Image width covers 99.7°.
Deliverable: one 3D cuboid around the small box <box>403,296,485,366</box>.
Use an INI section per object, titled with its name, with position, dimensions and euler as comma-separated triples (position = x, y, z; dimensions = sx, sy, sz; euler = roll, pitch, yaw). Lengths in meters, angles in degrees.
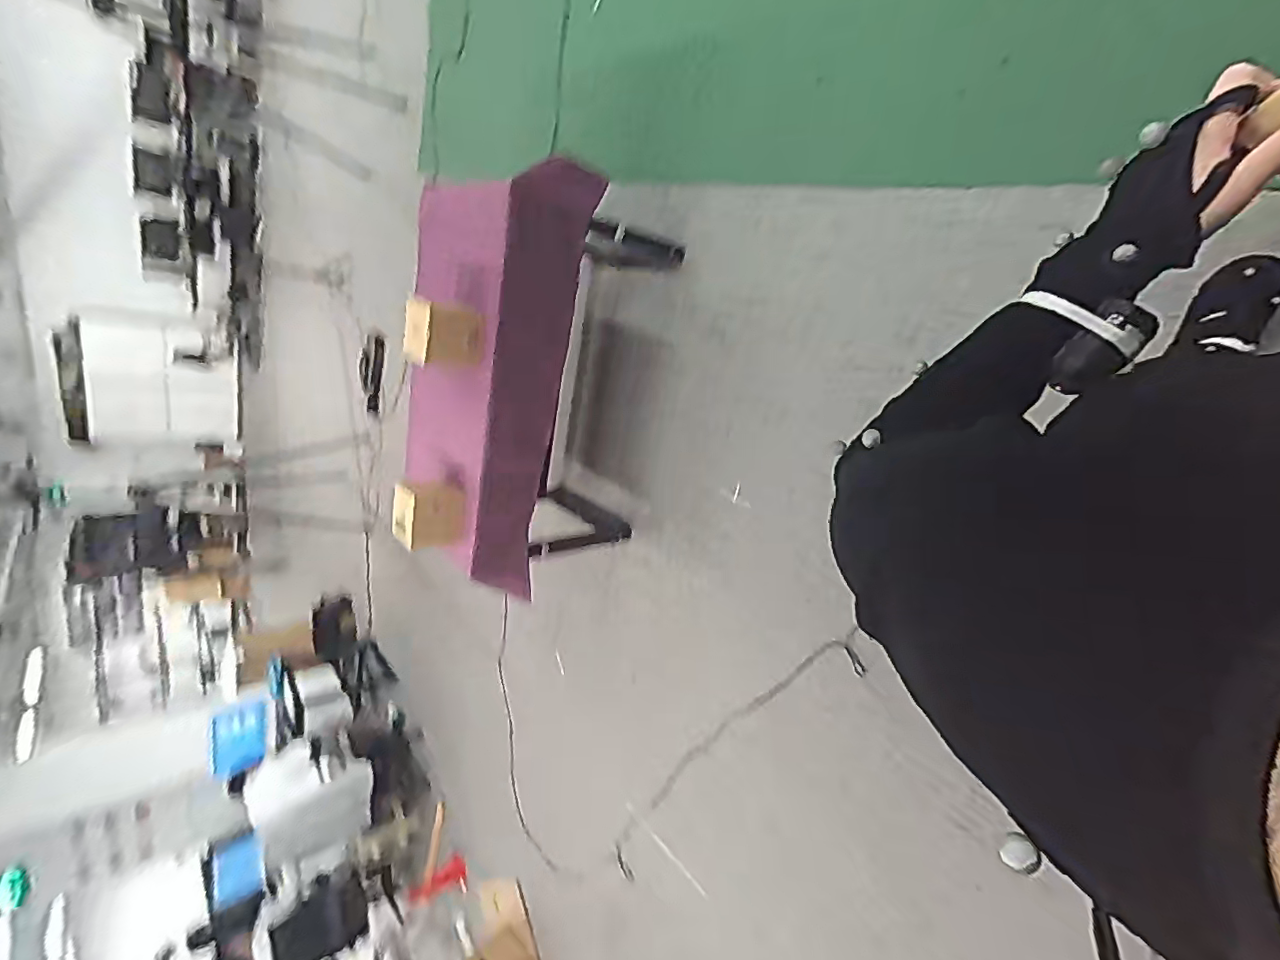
[small box]
position = -0.590, -0.445, 1.626
dimensions = 0.179, 0.176, 0.168
euler = 29, 114, 41
